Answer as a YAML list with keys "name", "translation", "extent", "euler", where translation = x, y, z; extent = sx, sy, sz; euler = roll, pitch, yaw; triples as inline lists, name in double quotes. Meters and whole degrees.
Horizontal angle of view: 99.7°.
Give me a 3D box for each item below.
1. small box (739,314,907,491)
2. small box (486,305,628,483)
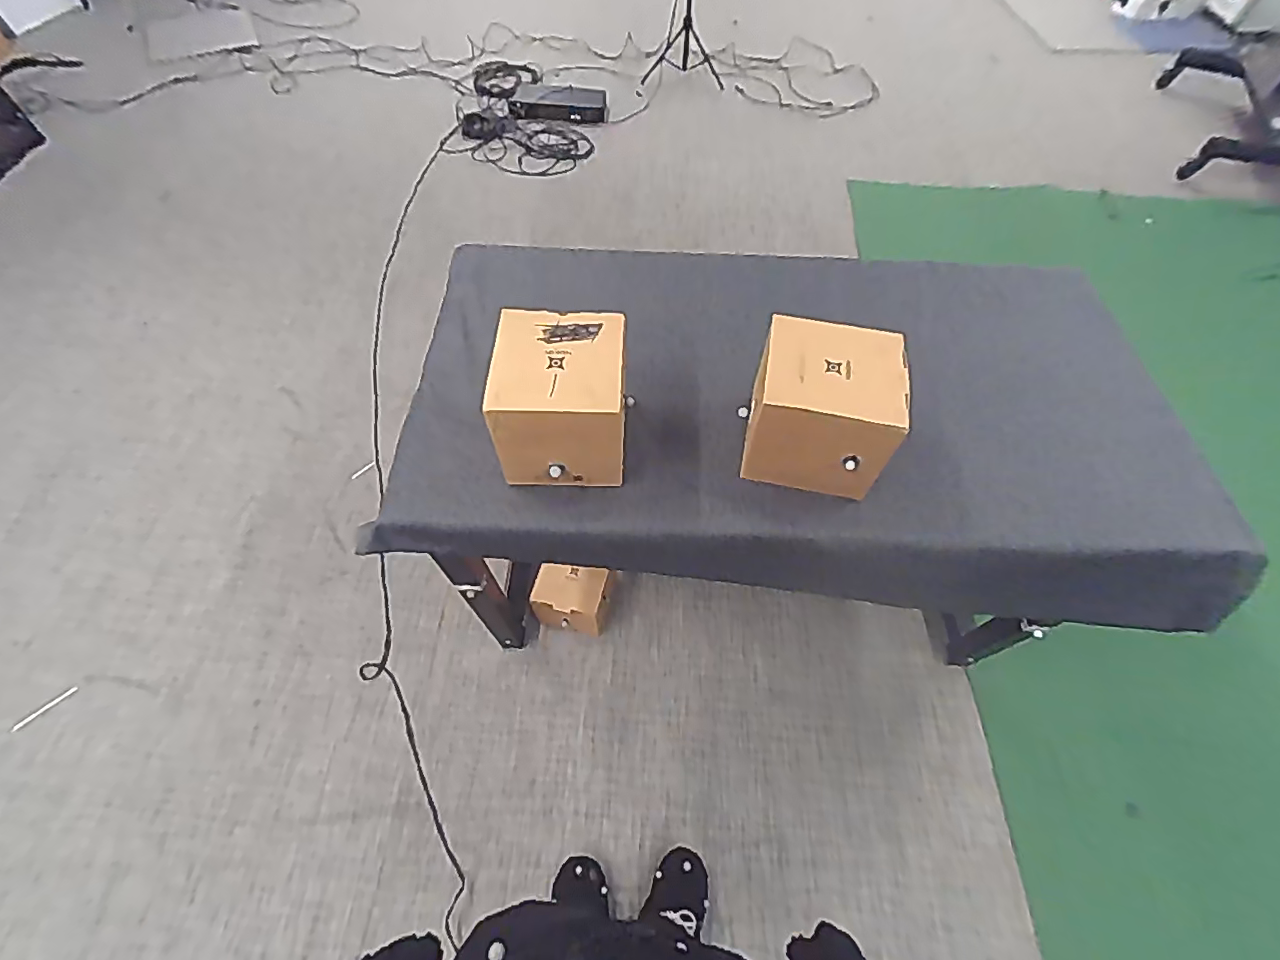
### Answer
- name: "small box"
  translation: [0.247, -0.102, 0.756]
  extent: [0.179, 0.176, 0.168]
  euler: [10, 57, 6]
- name: "small box"
  translation: [-0.102, -0.116, 0.750]
  extent: [0.168, 0.176, 0.179]
  euler: [1, 58, -1]
